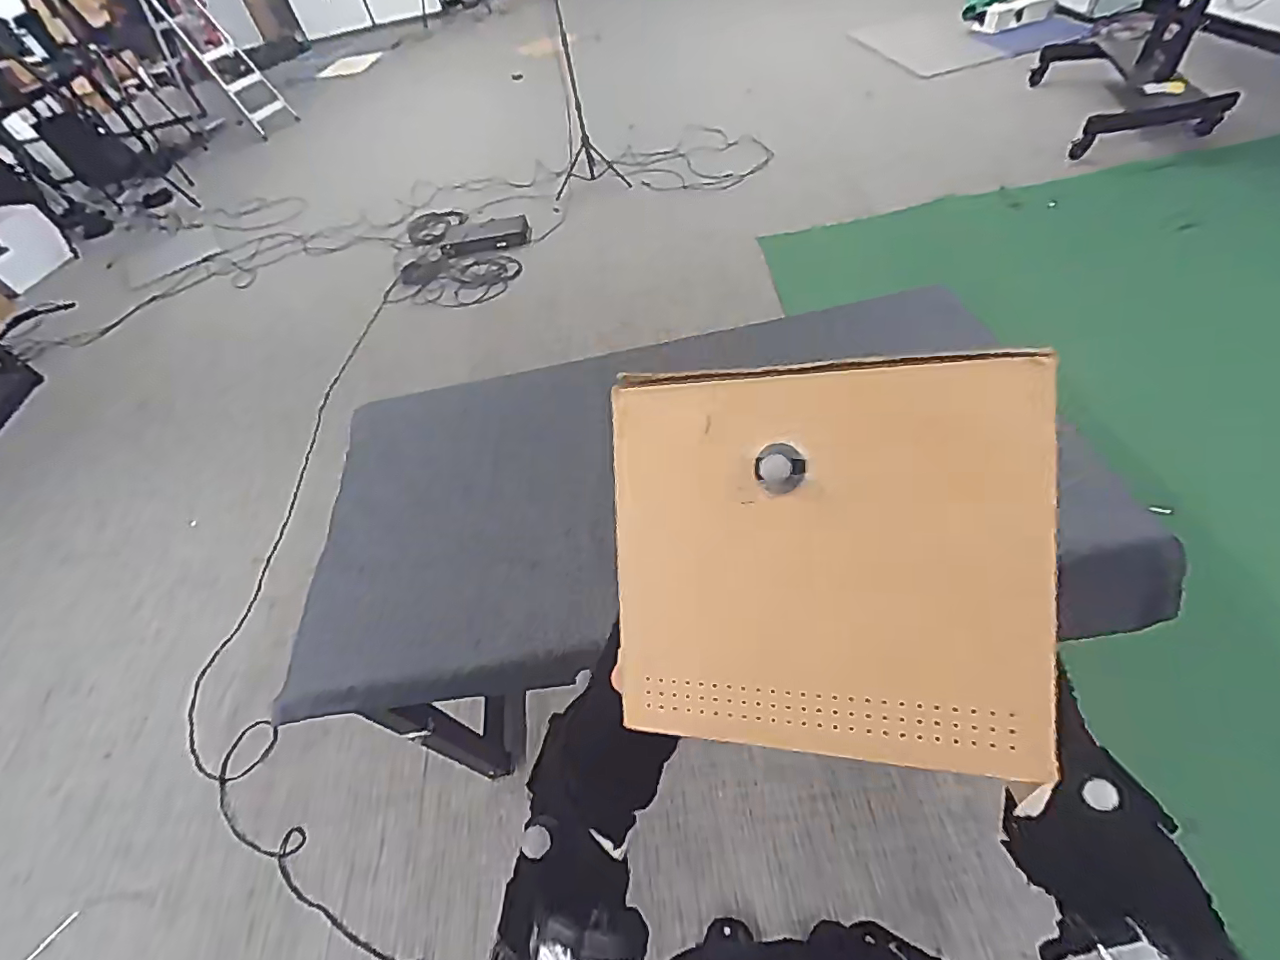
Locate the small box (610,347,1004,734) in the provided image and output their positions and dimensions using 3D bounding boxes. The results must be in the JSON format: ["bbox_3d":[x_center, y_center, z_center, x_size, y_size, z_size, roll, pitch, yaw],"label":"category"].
[{"bbox_3d":[0.095,0.029,0.324,0.179,0.168,0.176,-2,93,20],"label":"small box"}]
